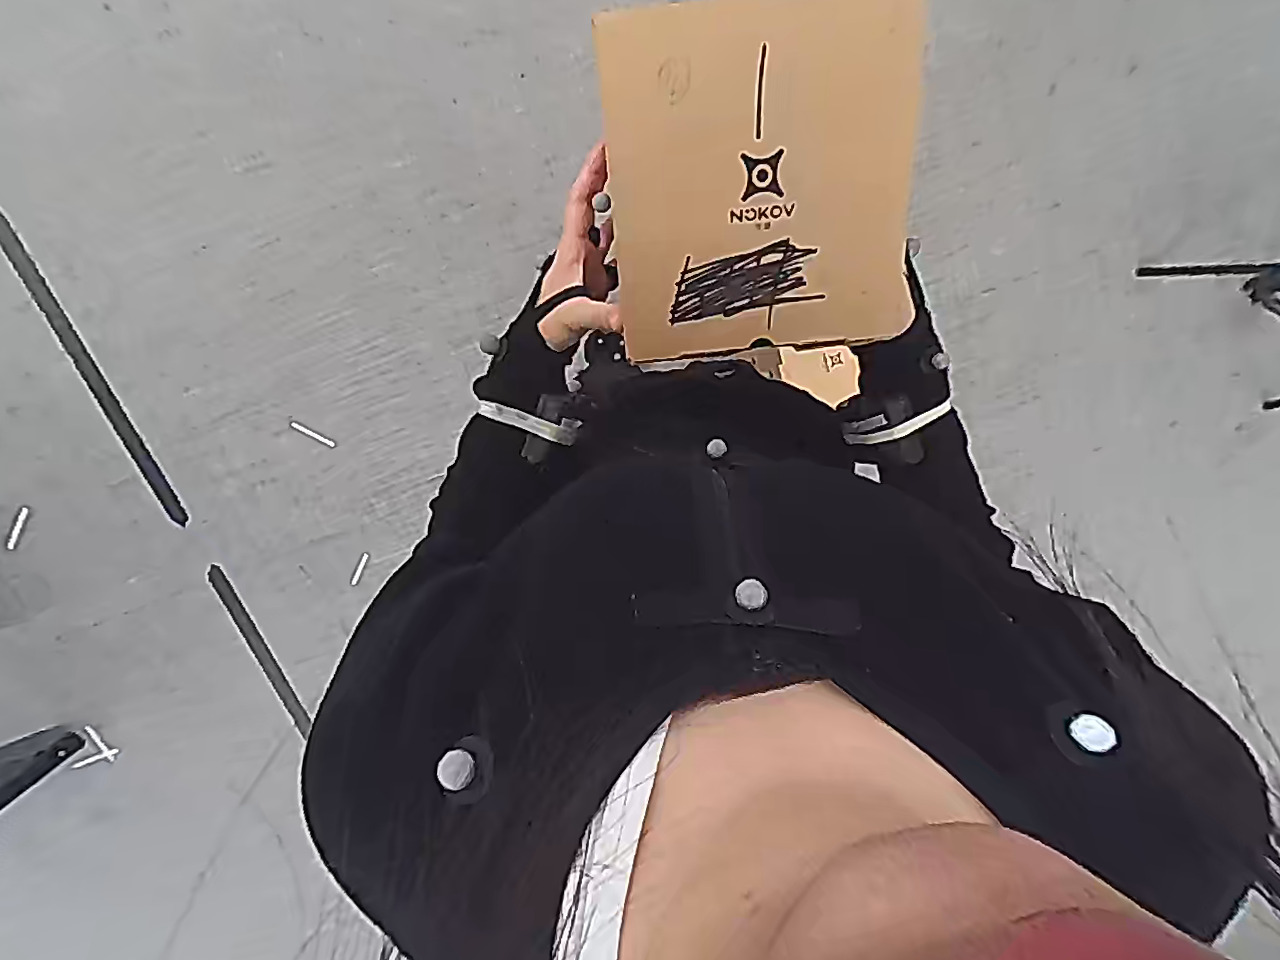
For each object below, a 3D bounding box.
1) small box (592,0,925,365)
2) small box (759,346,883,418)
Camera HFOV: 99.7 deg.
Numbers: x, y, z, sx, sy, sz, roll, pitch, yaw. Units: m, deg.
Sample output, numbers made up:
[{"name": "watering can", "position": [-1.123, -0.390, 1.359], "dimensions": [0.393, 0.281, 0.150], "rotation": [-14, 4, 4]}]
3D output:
[{"name": "small box", "position": [0.064, -0.188, 0.371], "dimensions": [0.168, 0.176, 0.179], "rotation": [-5, 113, 2]}, {"name": "small box", "position": [0.336, -0.231, 1.046], "dimensions": [0.179, 0.176, 0.168], "rotation": [-18, 105, 3]}]
